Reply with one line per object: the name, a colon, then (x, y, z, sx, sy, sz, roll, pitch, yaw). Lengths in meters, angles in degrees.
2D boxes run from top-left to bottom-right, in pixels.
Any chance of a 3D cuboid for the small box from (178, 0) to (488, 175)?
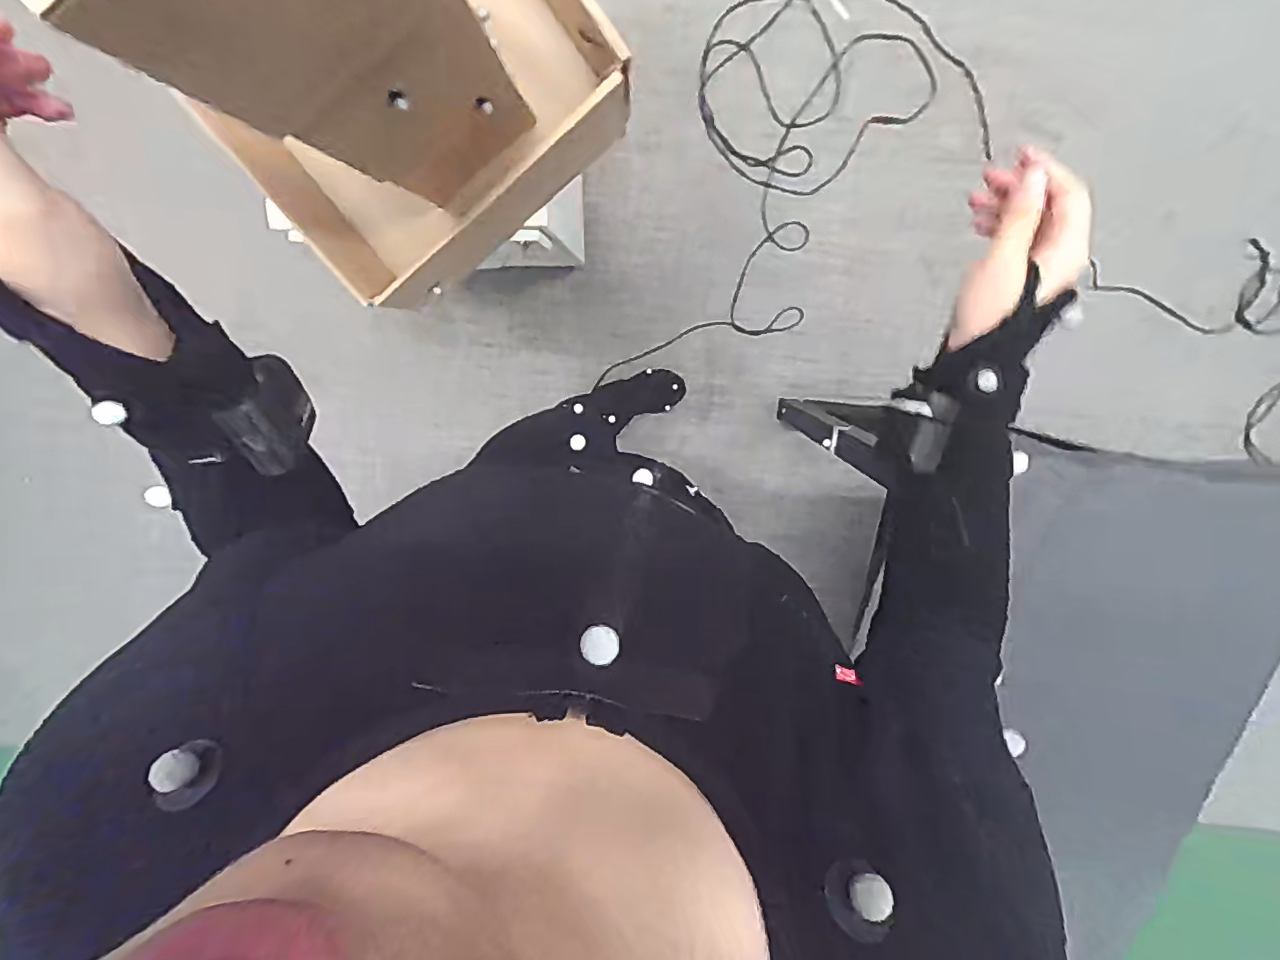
small box: (-0.252, -0.403, 0.459, 0.179, 0.176, 0.168, -35, 101, 11)
